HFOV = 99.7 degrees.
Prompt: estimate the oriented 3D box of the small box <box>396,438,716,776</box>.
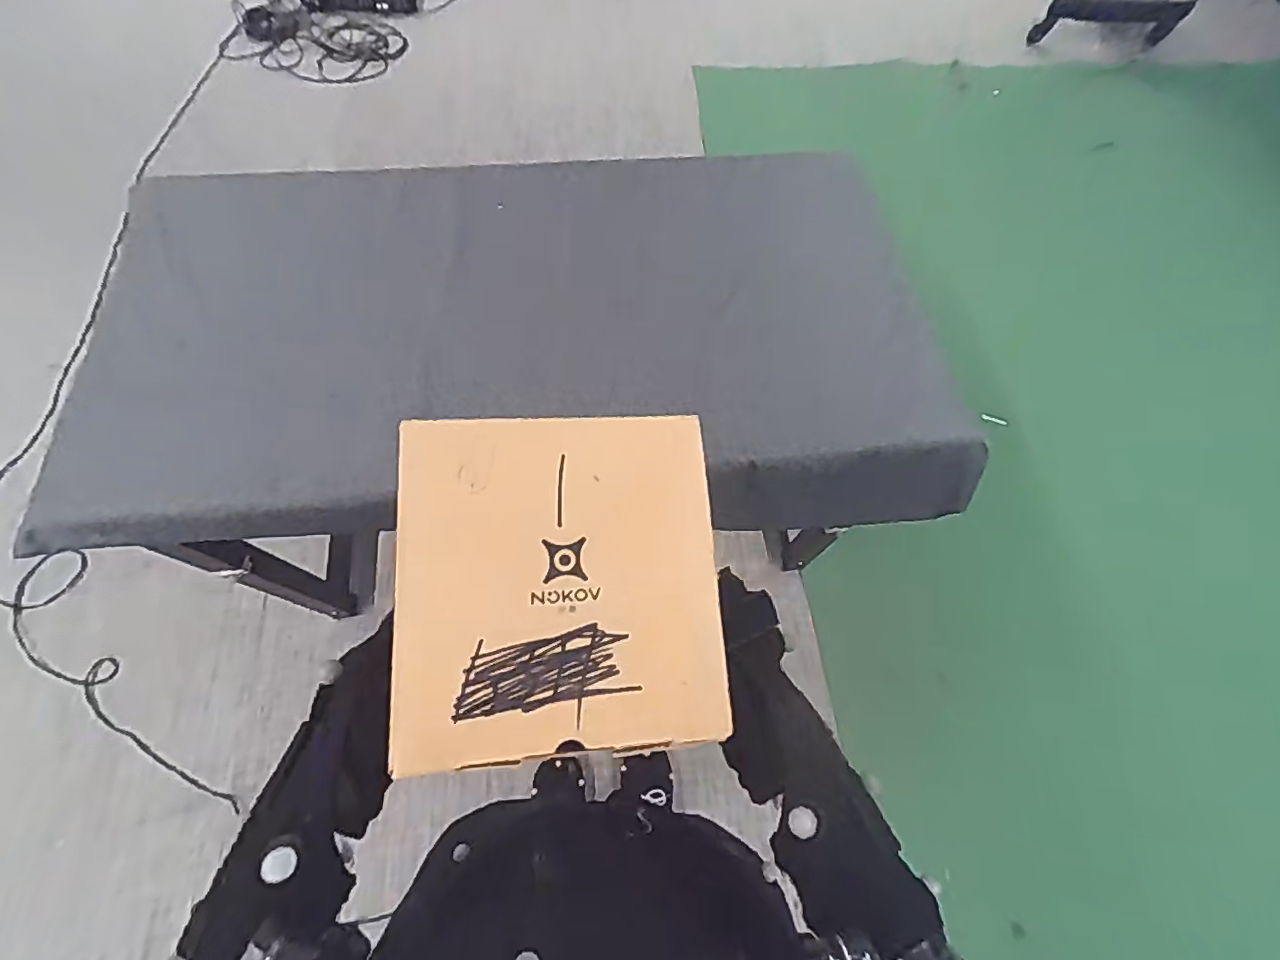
[{"bbox_3d":[-0.054,0.079,0.371,0.168,0.176,0.179,-1,76,-9],"label":"small box"}]
